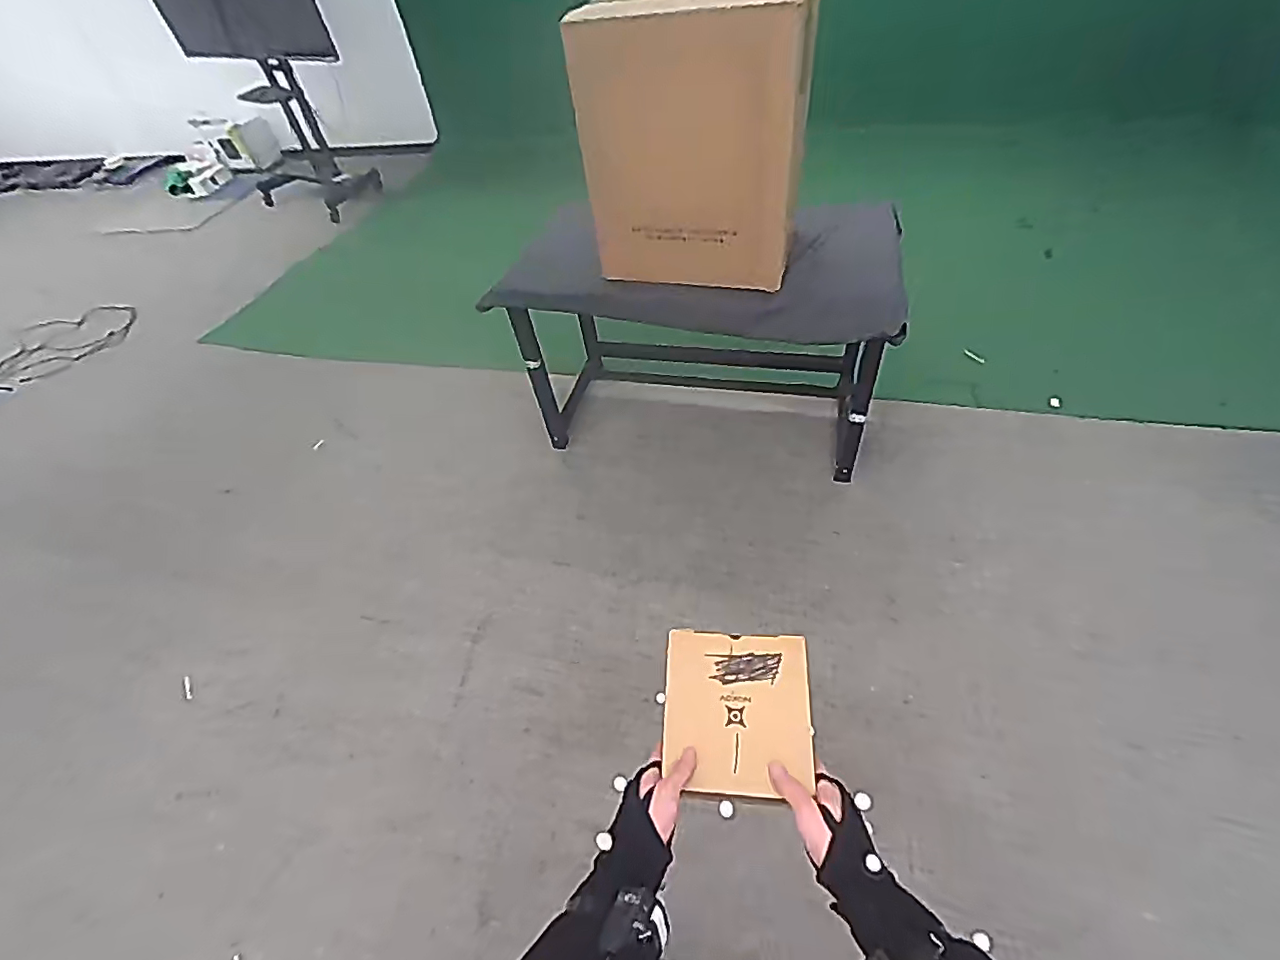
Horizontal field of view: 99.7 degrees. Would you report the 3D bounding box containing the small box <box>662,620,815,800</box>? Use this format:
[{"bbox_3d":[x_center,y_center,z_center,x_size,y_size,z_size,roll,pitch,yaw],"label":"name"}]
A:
[{"bbox_3d":[0.117,0.295,0.688,0.168,0.176,0.179,2,58,7],"label":"small box"}]
